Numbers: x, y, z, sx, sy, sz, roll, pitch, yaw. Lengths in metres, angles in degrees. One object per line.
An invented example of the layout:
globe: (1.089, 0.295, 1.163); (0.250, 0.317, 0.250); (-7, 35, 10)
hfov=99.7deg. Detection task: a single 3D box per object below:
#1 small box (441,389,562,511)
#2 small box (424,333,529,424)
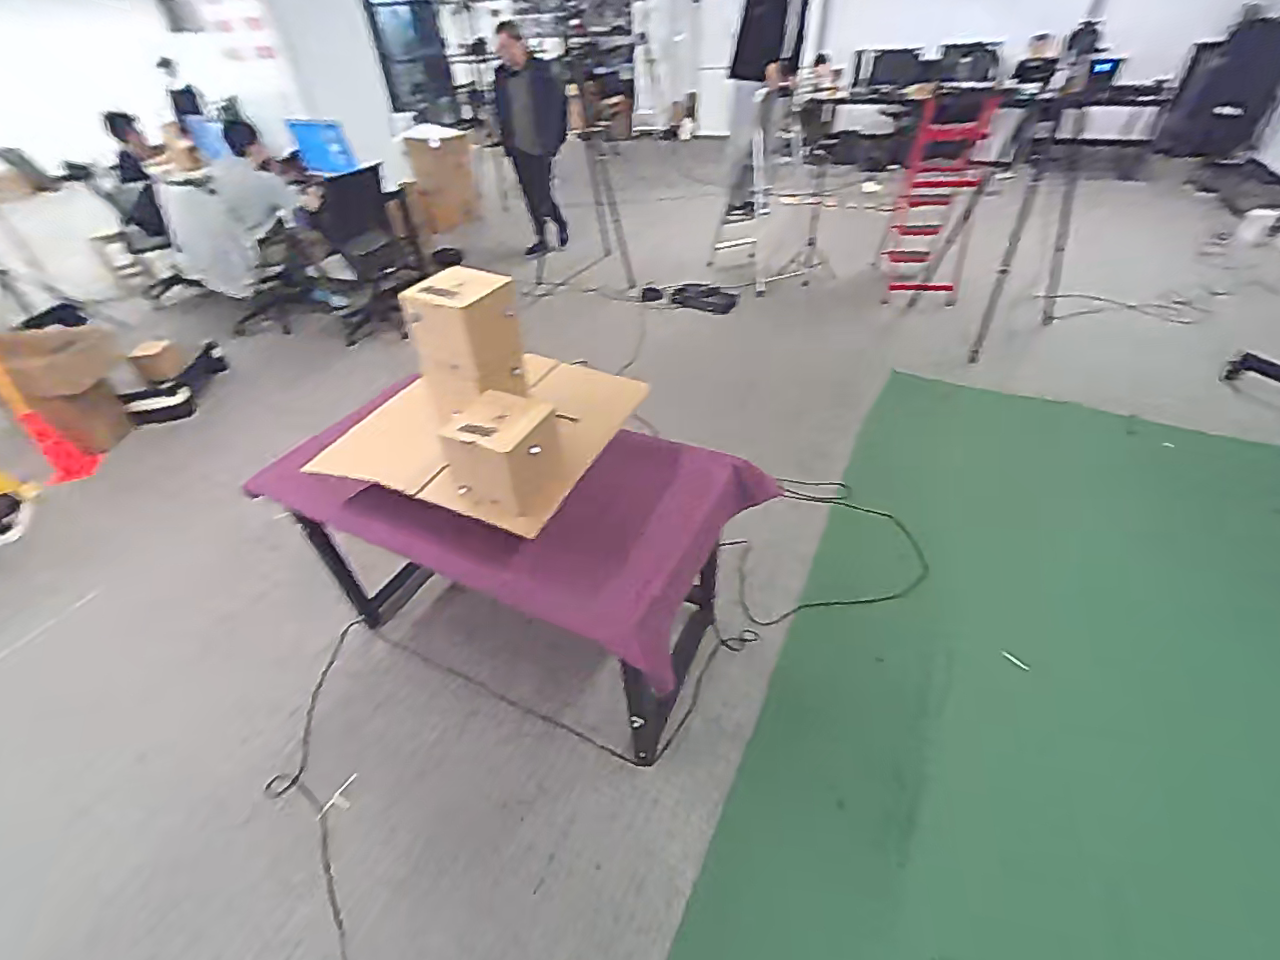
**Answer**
small box: (-0.277, -0.061, 1.128); (0.168, 0.176, 0.179); (17, 44, 18)
small box: (-0.385, -0.230, 1.313); (0.168, 0.176, 0.179); (18, 46, 19)
